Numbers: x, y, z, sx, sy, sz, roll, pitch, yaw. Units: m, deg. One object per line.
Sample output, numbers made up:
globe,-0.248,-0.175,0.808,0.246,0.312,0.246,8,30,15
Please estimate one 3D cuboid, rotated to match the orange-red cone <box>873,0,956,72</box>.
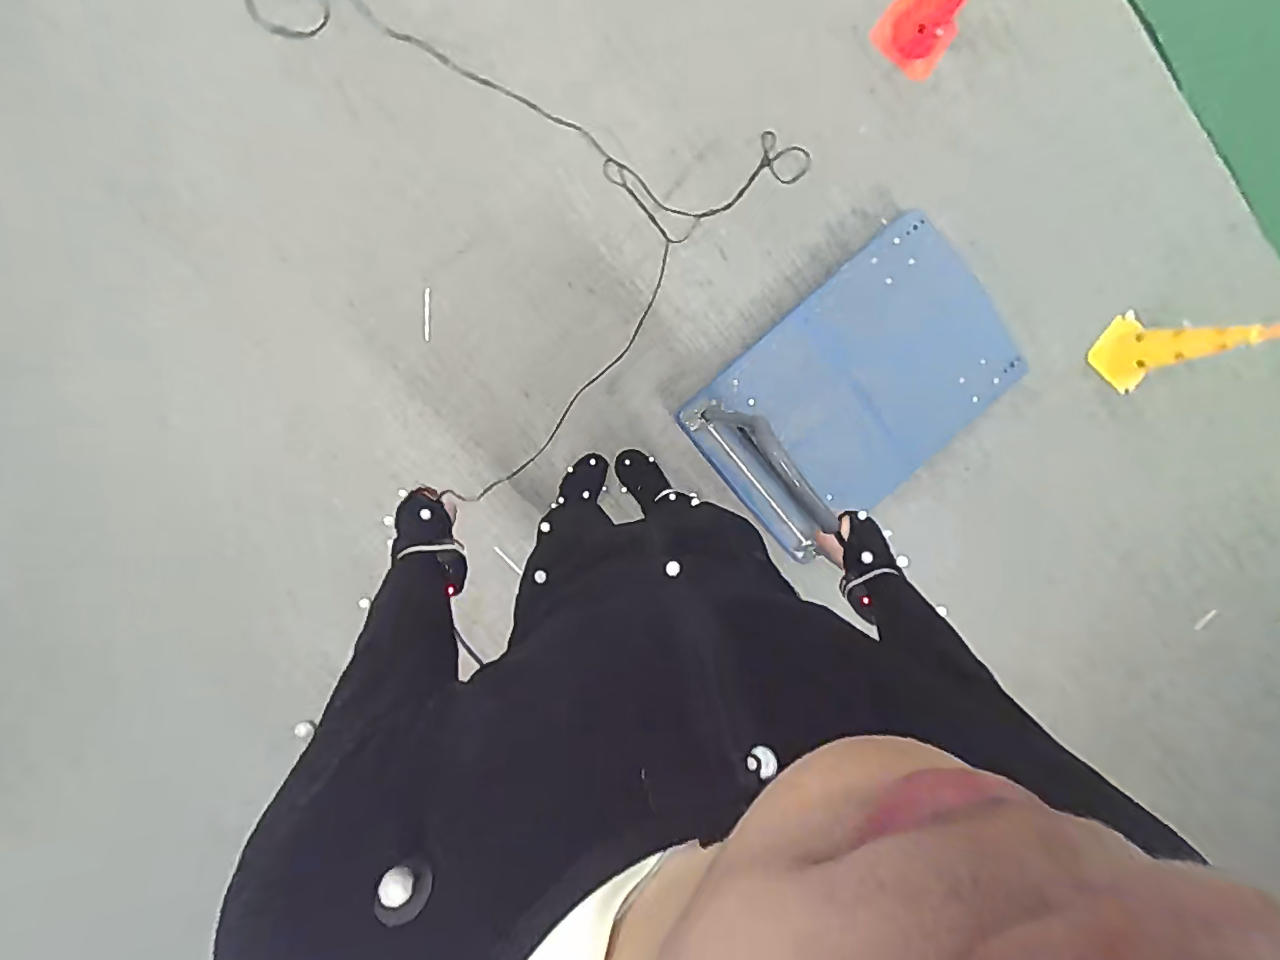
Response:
orange-red cone,0.804,-1.291,1.384,0.199,0.360,0.198,34,91,-7
